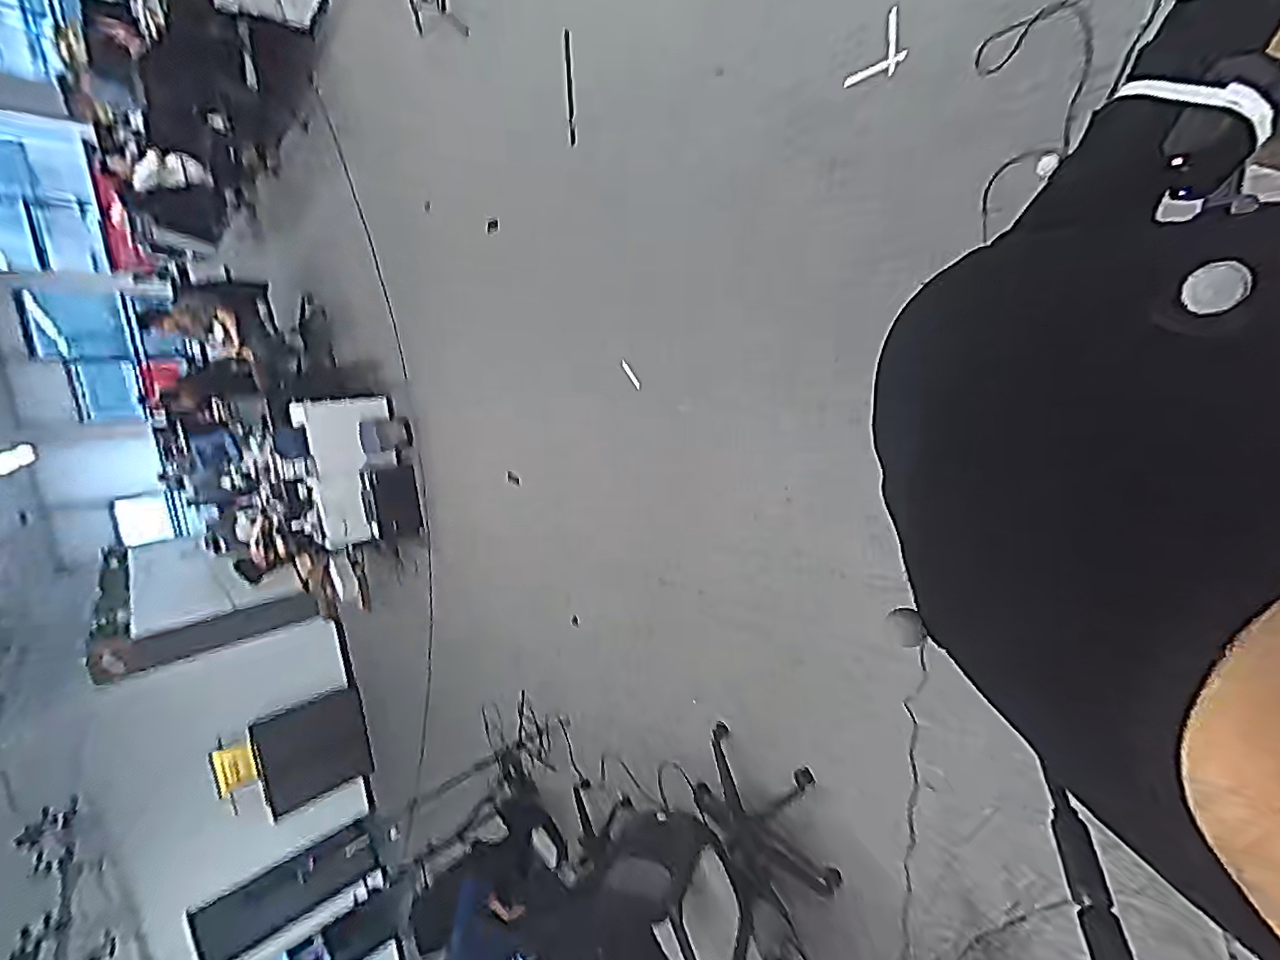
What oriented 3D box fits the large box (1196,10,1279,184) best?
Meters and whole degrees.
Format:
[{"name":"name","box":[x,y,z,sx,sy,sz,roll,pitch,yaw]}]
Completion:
[{"name":"large box","box":[0.675,-0.324,0.308,0.408,0.320,0.320,36,130,28]}]
